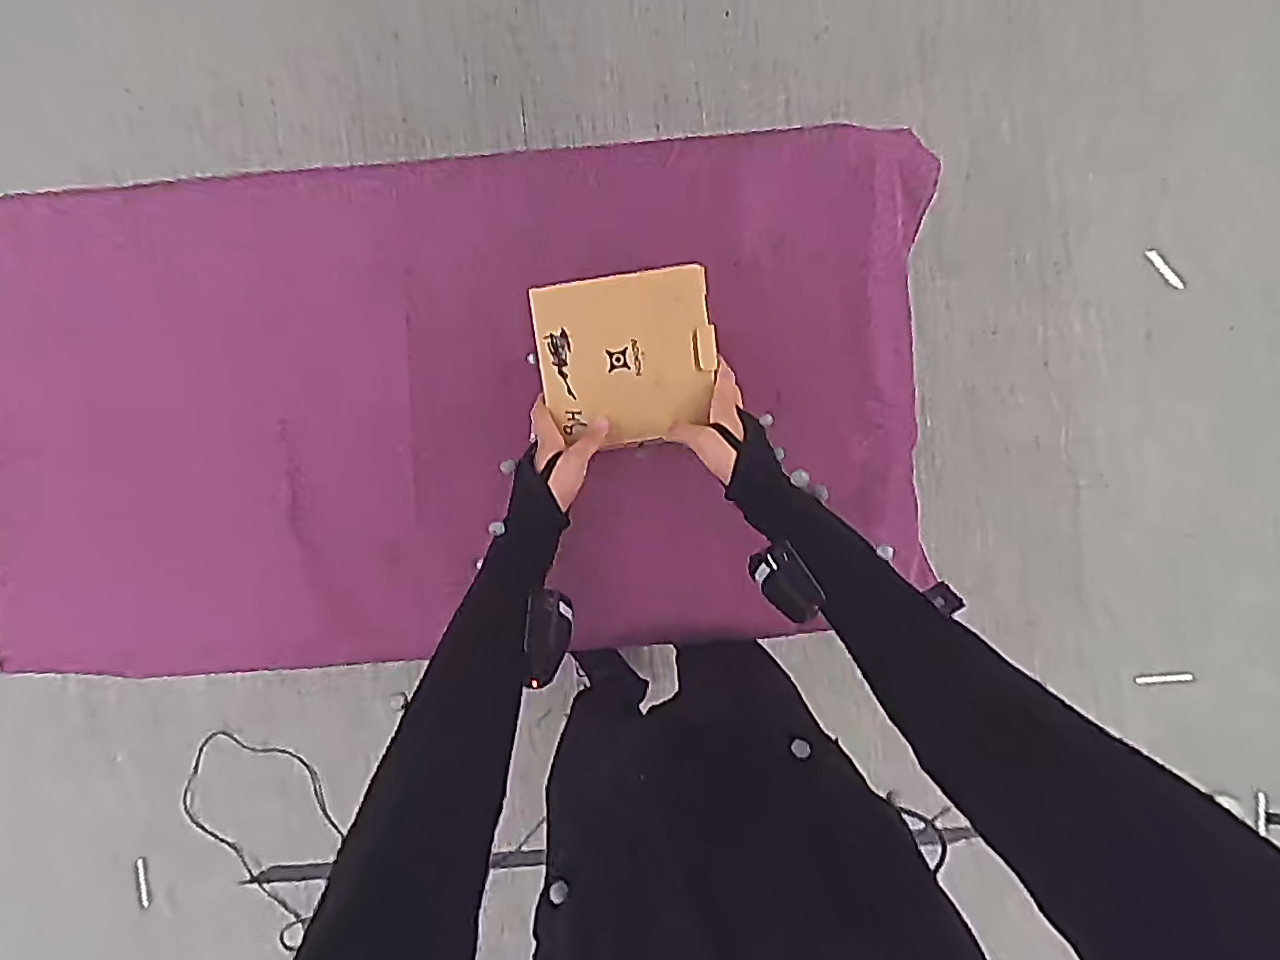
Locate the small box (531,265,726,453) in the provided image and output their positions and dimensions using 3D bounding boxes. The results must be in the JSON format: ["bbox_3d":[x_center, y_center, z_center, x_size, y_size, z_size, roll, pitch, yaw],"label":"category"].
[{"bbox_3d":[-0.012,-0.122,0.606,0.179,0.176,0.168,-8,92,0],"label":"small box"}]
